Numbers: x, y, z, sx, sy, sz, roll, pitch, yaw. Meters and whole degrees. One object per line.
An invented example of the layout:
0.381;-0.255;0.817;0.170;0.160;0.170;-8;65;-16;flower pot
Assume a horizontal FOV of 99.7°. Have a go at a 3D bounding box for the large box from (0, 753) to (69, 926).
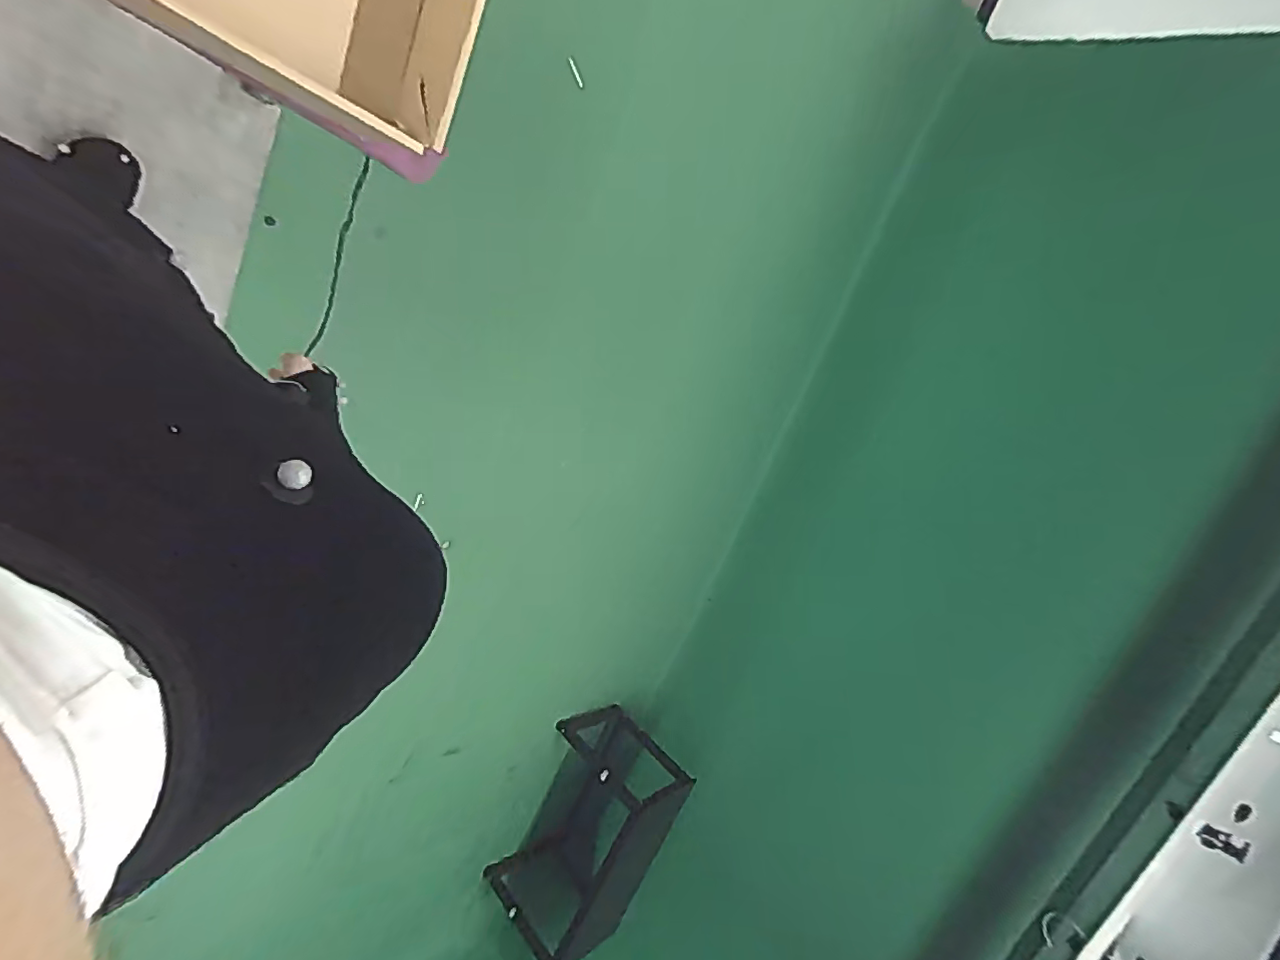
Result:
-1.689;0.916;1.251;0.408;0.320;0.320;-31;138;-34;large box
